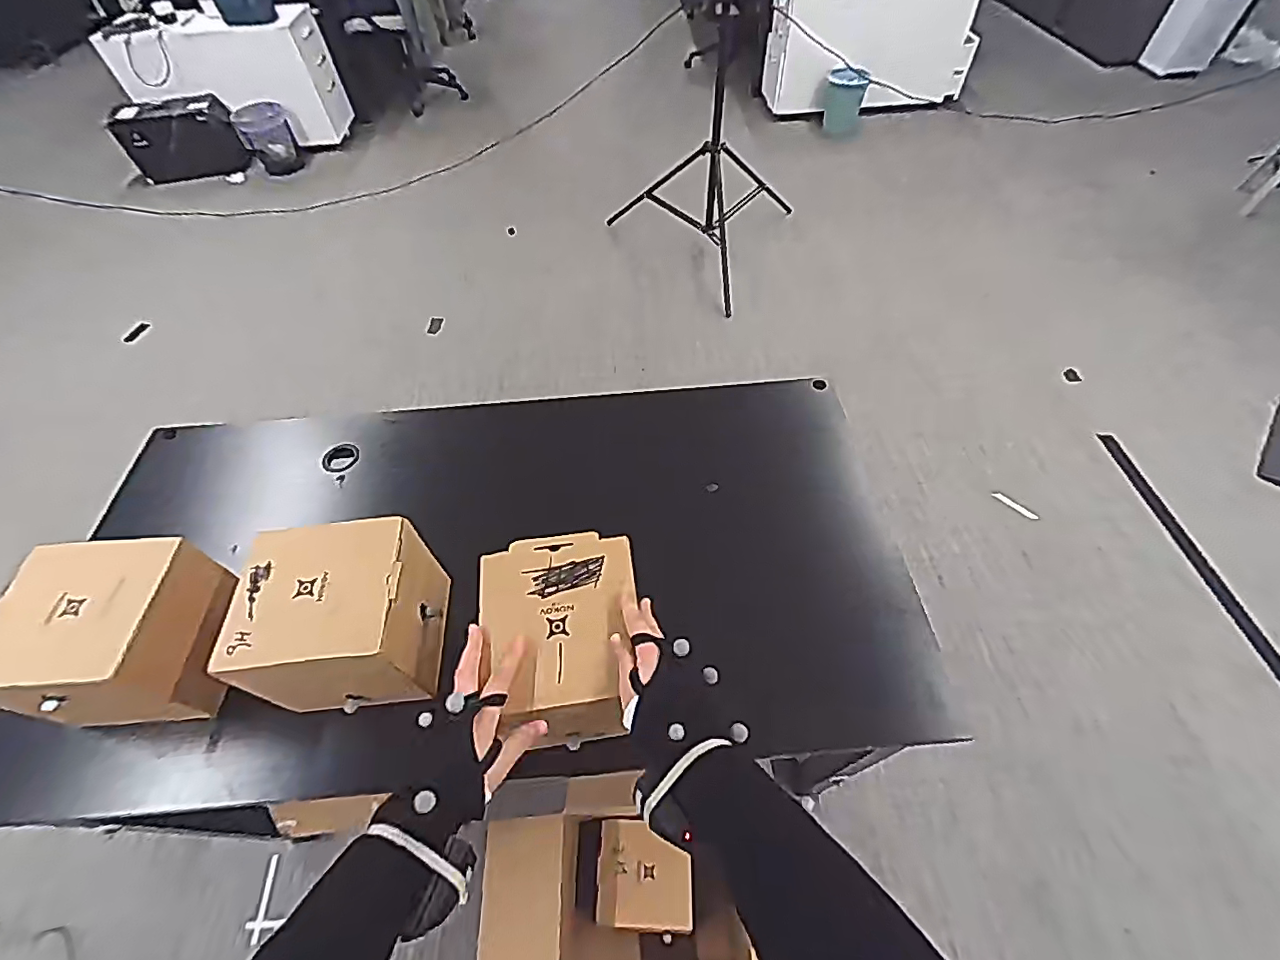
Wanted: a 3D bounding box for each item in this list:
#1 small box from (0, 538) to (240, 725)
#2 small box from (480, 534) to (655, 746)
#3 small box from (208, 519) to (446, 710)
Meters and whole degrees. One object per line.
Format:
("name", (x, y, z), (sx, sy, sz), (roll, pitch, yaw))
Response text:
("small box", (-0.608, 0.185, 0.642), (0.179, 0.176, 0.168), (-3, 55, -1))
("small box", (-0.077, 0.185, 0.618), (0.168, 0.176, 0.179), (-8, 55, -3))
("small box", (-0.346, 0.165, 0.646), (0.179, 0.176, 0.168), (-5, 54, -3))
